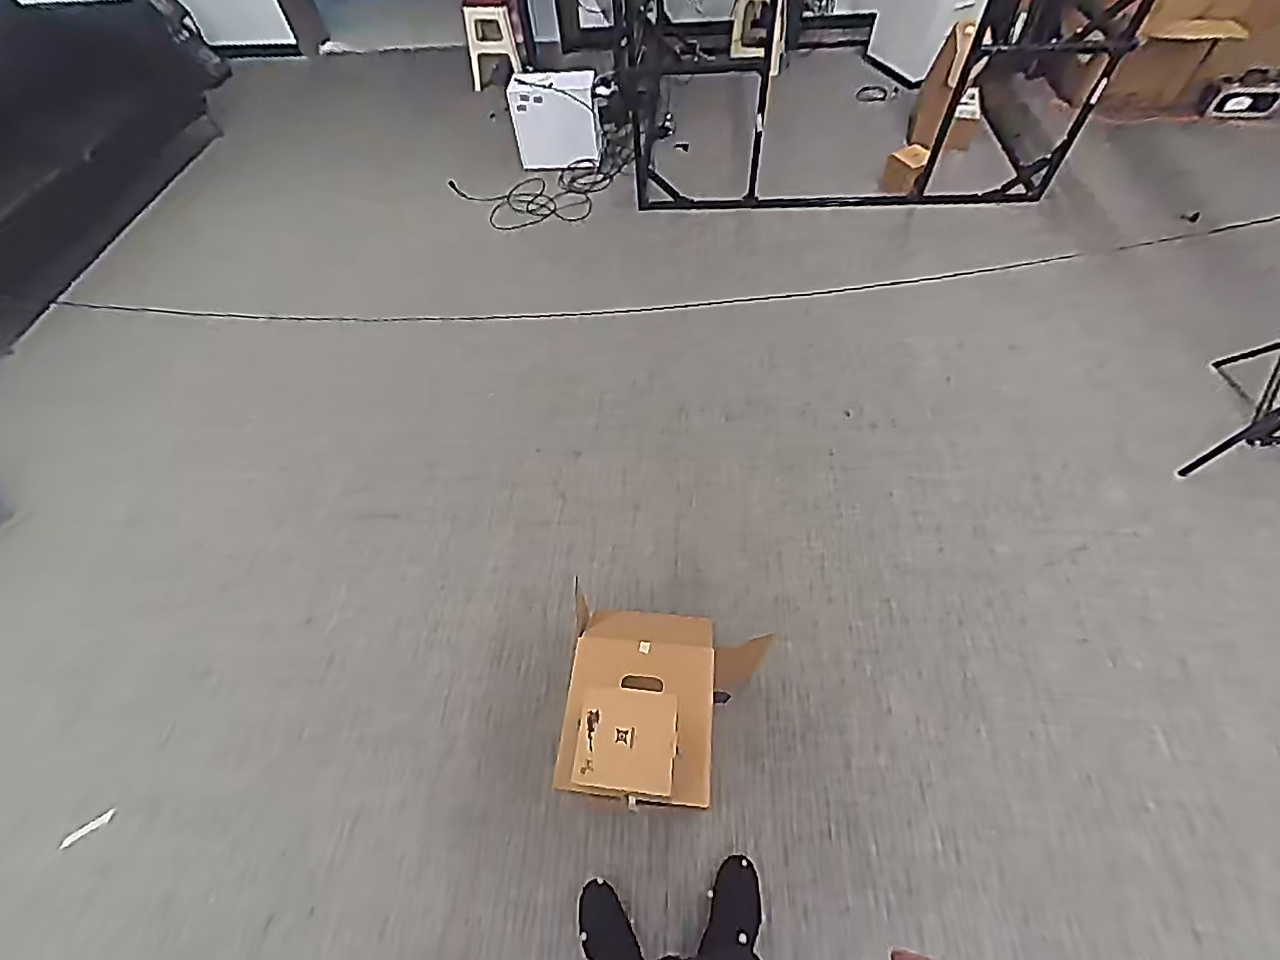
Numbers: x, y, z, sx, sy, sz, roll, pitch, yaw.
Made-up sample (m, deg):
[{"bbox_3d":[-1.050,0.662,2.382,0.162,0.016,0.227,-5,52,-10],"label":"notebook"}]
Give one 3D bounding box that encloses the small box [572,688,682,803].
[{"bbox_3d":[-0.017,0.508,1.030,0.179,0.176,0.168,5,58,7],"label":"small box"}]
